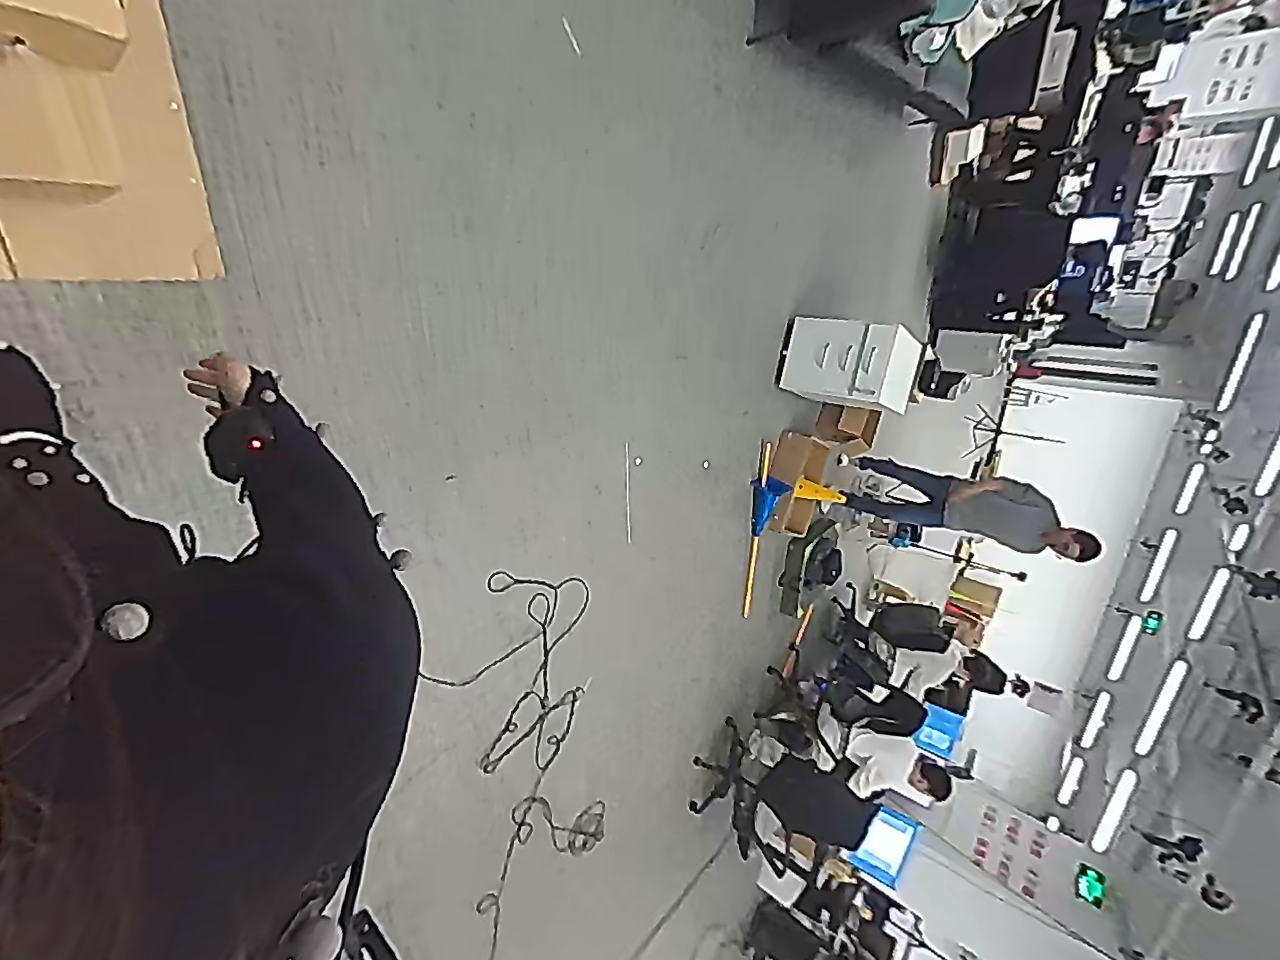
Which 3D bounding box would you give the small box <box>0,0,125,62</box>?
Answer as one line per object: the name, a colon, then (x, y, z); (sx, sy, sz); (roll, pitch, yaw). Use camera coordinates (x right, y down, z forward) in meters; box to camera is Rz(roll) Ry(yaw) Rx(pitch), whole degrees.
small box: (-0.710, -0.588, 0.588); (0.179, 0.176, 0.168); (-17, 117, -47)
